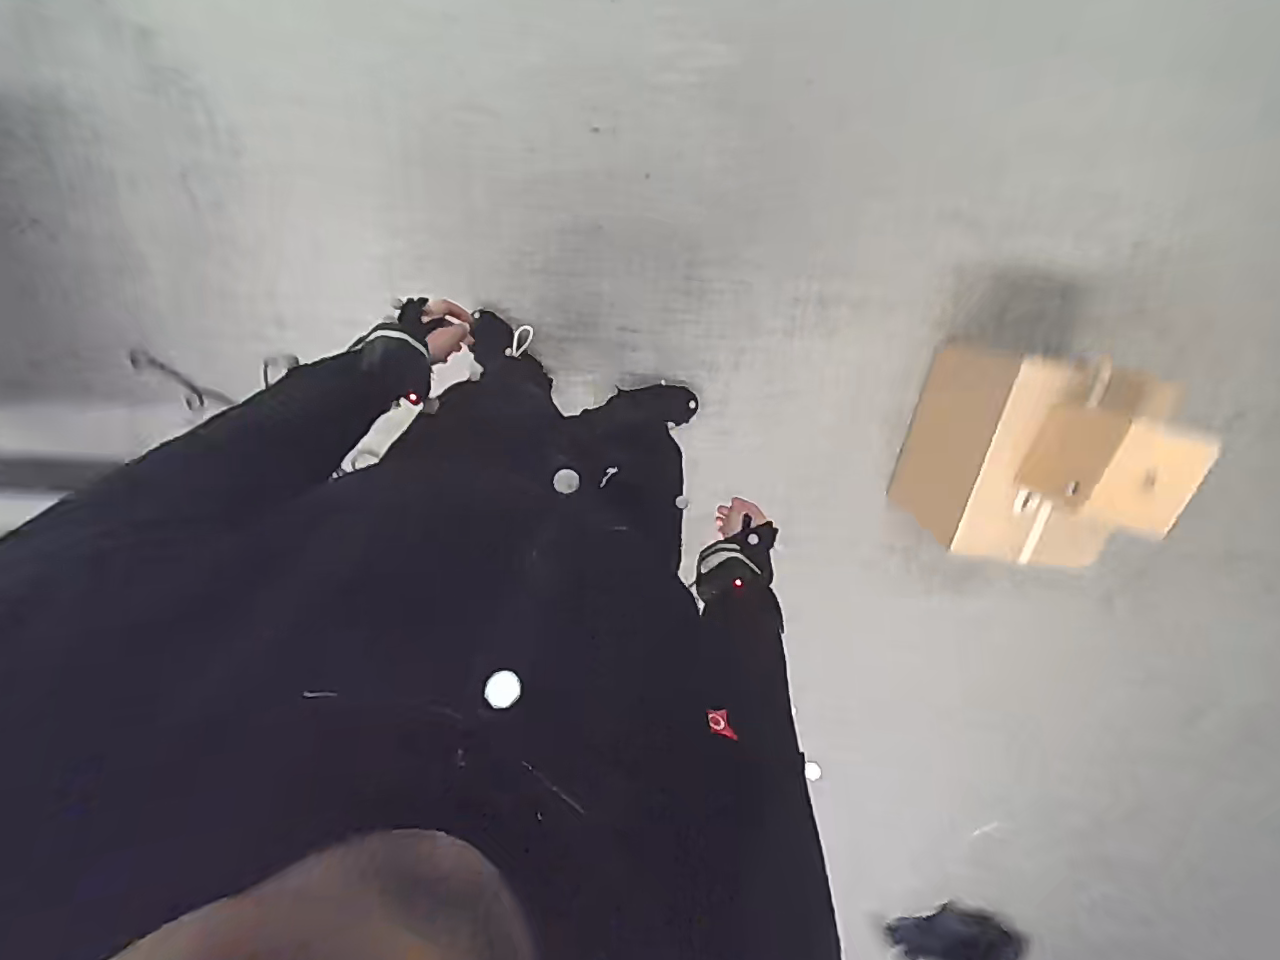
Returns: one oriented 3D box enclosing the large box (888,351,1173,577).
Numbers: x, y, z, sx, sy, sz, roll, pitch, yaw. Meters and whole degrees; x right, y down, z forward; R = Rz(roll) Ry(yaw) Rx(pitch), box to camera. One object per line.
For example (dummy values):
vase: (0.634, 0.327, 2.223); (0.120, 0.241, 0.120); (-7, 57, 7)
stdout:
large box: (0.819, -0.051, 1.207); (0.320, 0.320, 0.408); (9, 110, -2)

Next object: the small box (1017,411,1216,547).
small box: (0.828, -0.010, 0.963); (0.168, 0.176, 0.179); (15, 109, -6)
